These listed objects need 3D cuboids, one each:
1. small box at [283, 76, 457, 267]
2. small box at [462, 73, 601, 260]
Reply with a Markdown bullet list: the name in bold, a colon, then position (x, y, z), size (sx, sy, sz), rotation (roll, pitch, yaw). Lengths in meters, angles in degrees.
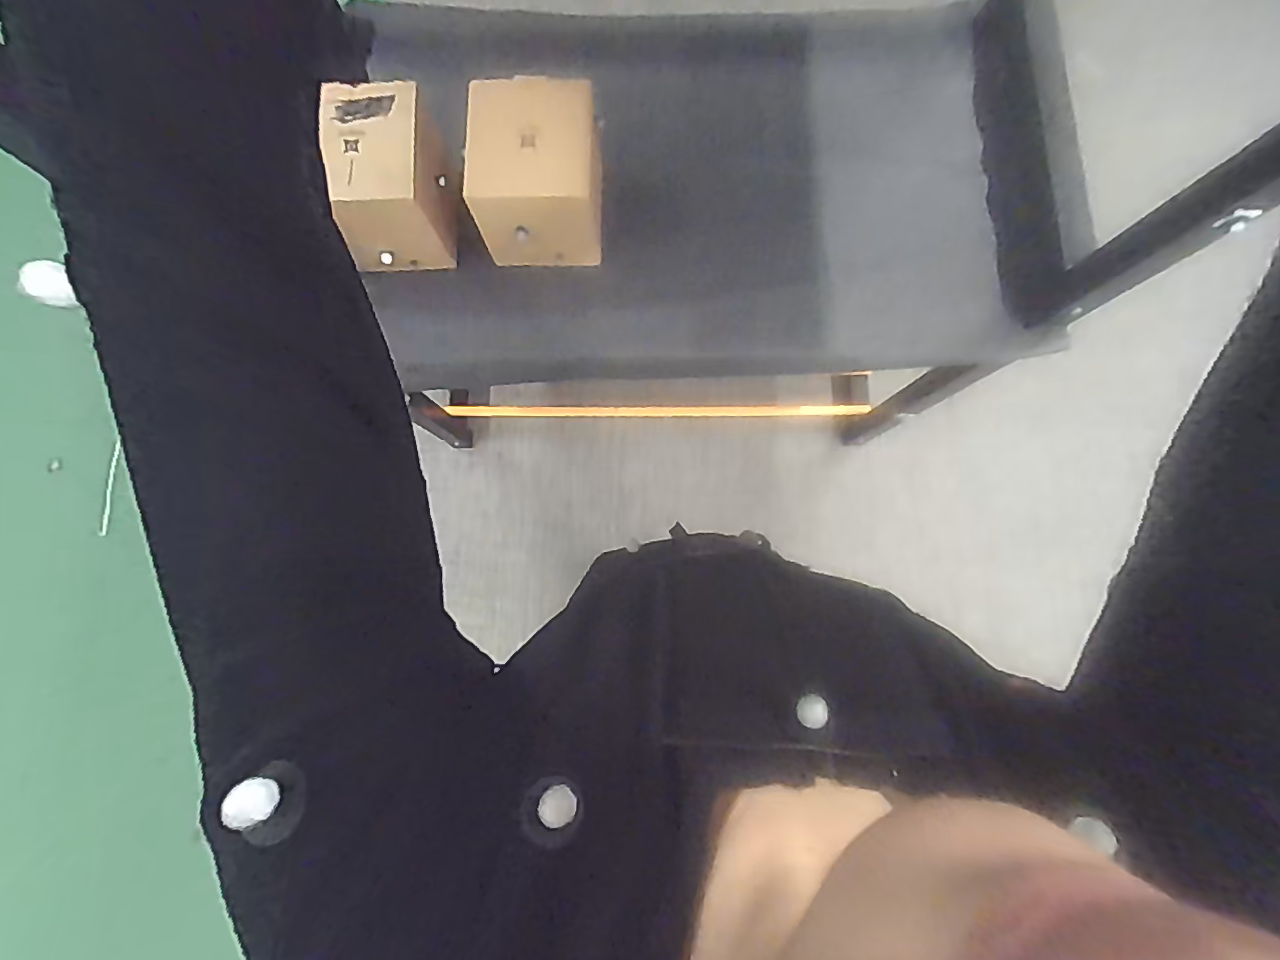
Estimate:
- **small box**: position (-0.371, -0.431, 0.775), size (0.168, 0.176, 0.179), rotation (-2, 81, 0)
- **small box**: position (-0.144, -0.437, 0.778), size (0.168, 0.176, 0.179), rotation (0, 80, 0)
